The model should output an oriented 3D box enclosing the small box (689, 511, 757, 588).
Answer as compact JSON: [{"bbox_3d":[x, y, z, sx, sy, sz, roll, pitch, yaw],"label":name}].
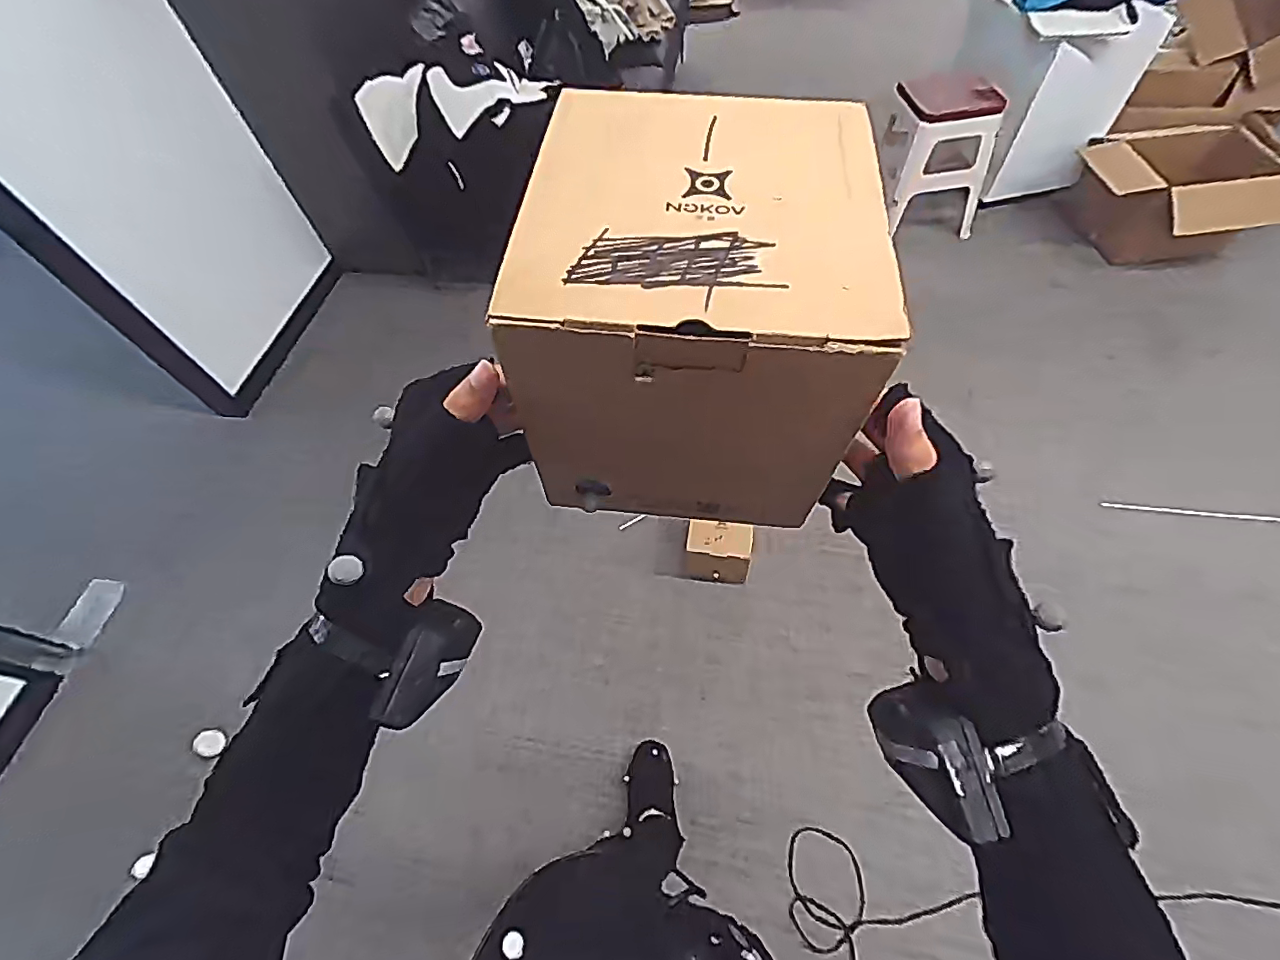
[{"bbox_3d":[0.223,0.172,1.467,0.168,0.176,0.179,6,59,10],"label":"small box"}]

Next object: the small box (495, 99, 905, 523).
[{"bbox_3d":[0.032,-0.088,0.321,0.168,0.176,0.179,5,60,3],"label":"small box"}]
